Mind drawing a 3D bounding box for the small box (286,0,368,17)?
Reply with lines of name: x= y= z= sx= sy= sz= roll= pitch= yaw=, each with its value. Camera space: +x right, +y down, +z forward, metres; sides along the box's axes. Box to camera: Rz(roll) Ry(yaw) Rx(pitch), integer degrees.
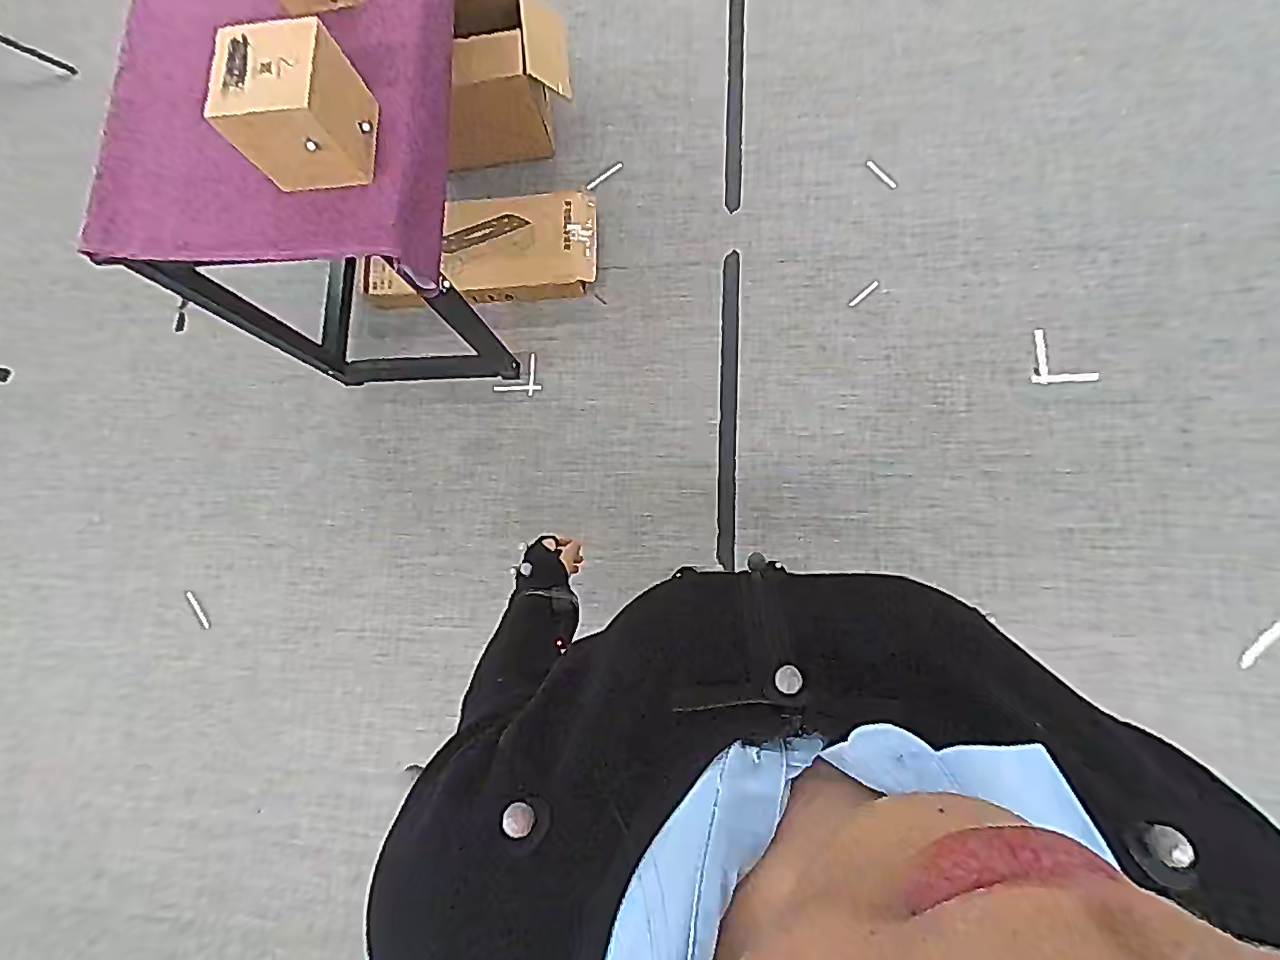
small box: x=-0.613 y=-1.006 z=0.986 sx=0.168 sy=0.176 sz=0.179 roll=-2 pitch=80 yaw=9
